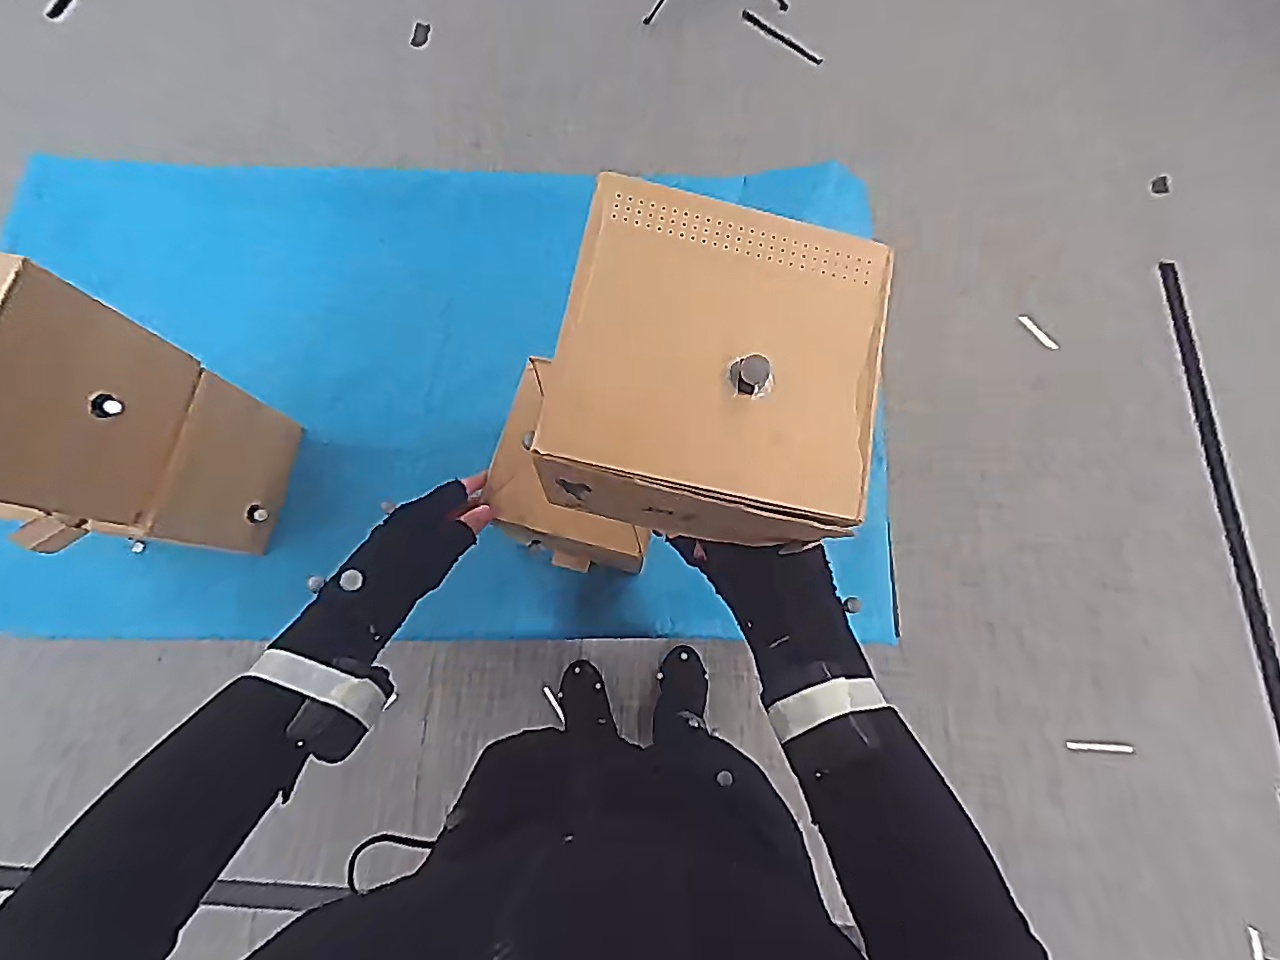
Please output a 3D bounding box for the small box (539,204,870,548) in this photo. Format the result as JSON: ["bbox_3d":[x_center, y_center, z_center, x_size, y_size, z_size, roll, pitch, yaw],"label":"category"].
[{"bbox_3d":[0.036,-0.055,0.373,0.179,0.168,0.176,12,77,-5],"label":"small box"}]

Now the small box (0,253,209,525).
[{"bbox_3d":[-0.534,-0.072,0.457,0.168,0.176,0.179,10,77,3],"label":"small box"}]

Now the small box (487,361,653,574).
[{"bbox_3d":[-0.056,-0.005,0.608,0.168,0.176,0.179,14,74,1],"label":"small box"}]

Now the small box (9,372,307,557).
[{"bbox_3d":[-0.528,-0.018,0.613,0.168,0.176,0.179,7,75,1],"label":"small box"}]
